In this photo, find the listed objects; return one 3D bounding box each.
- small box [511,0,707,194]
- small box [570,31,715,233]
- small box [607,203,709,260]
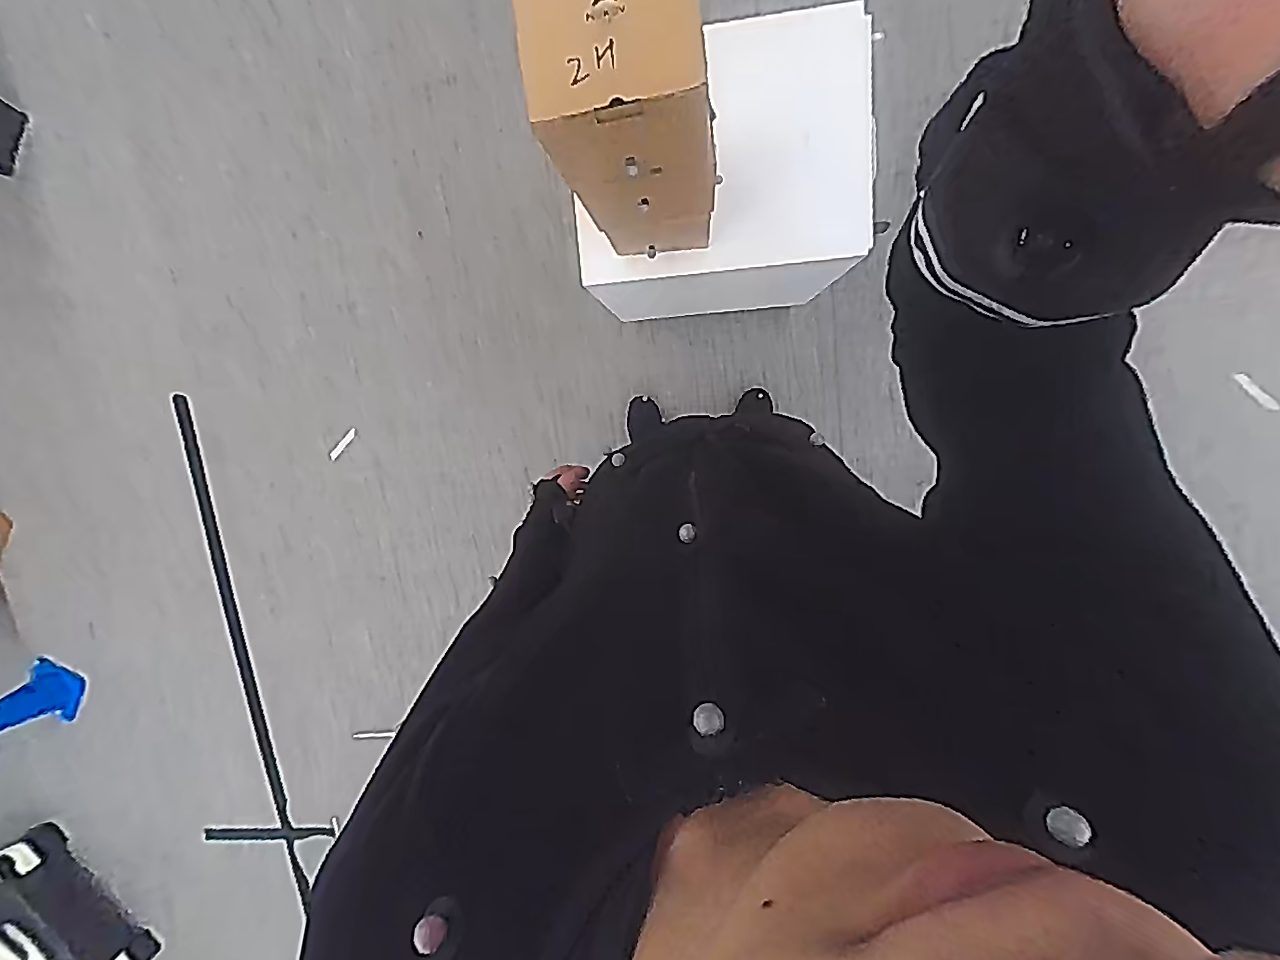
[{"bbox_3d":[-0.024,-0.425,0.551,0.168,0.176,0.179,-7,98,8],"label":"small box"},{"bbox_3d":[0.001,-0.446,0.713,0.179,0.176,0.168,-7,97,8],"label":"small box"},{"bbox_3d":[0.023,-0.473,0.874,0.168,0.176,0.179,-3,99,6],"label":"small box"}]
